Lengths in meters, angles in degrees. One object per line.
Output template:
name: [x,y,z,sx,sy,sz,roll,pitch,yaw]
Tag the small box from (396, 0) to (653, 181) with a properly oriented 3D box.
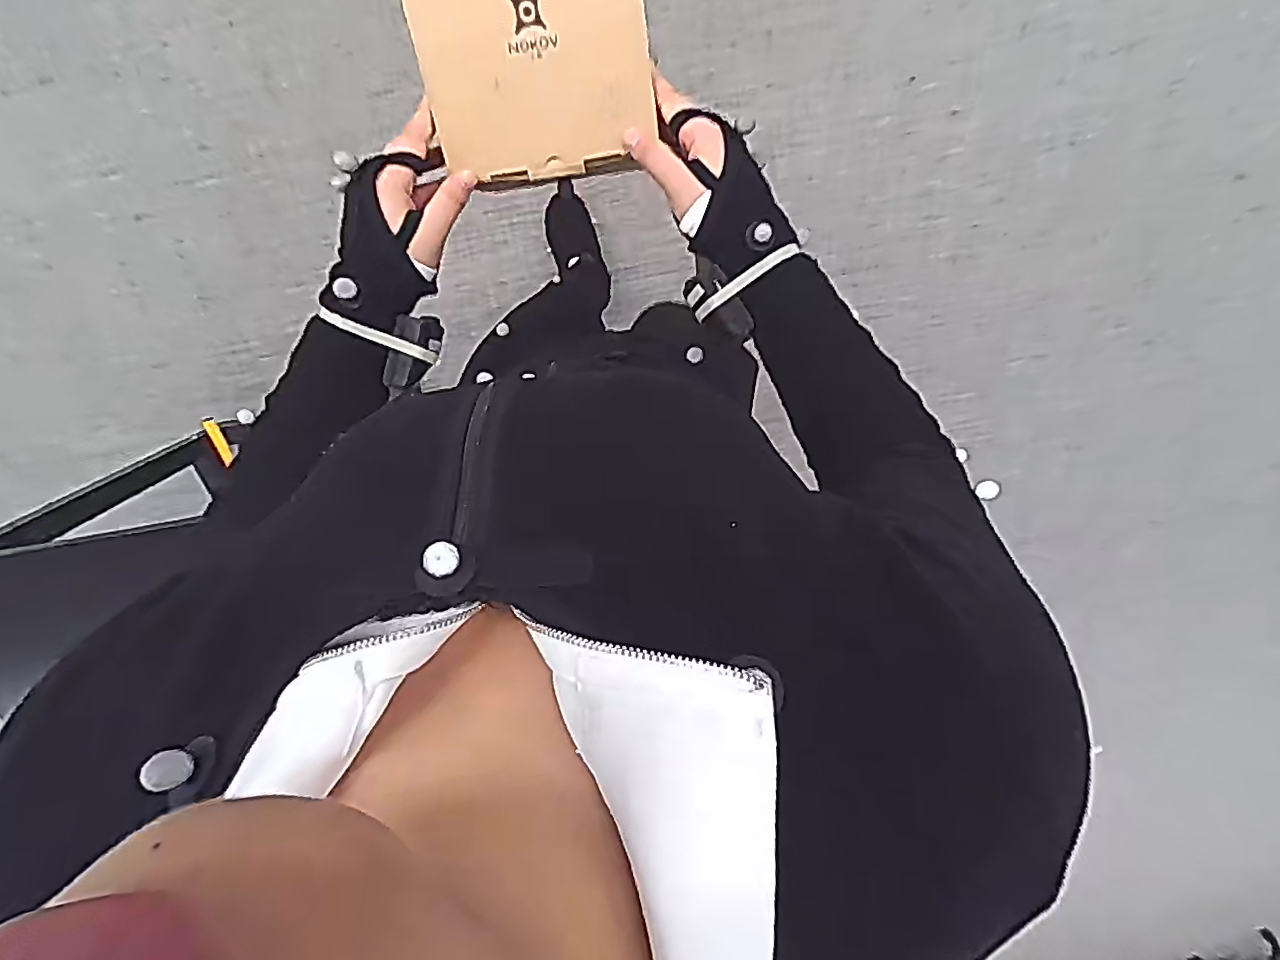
small box: [-0.083,-0.354,0.438,0.168,0.176,0.179,-9,118,1]
